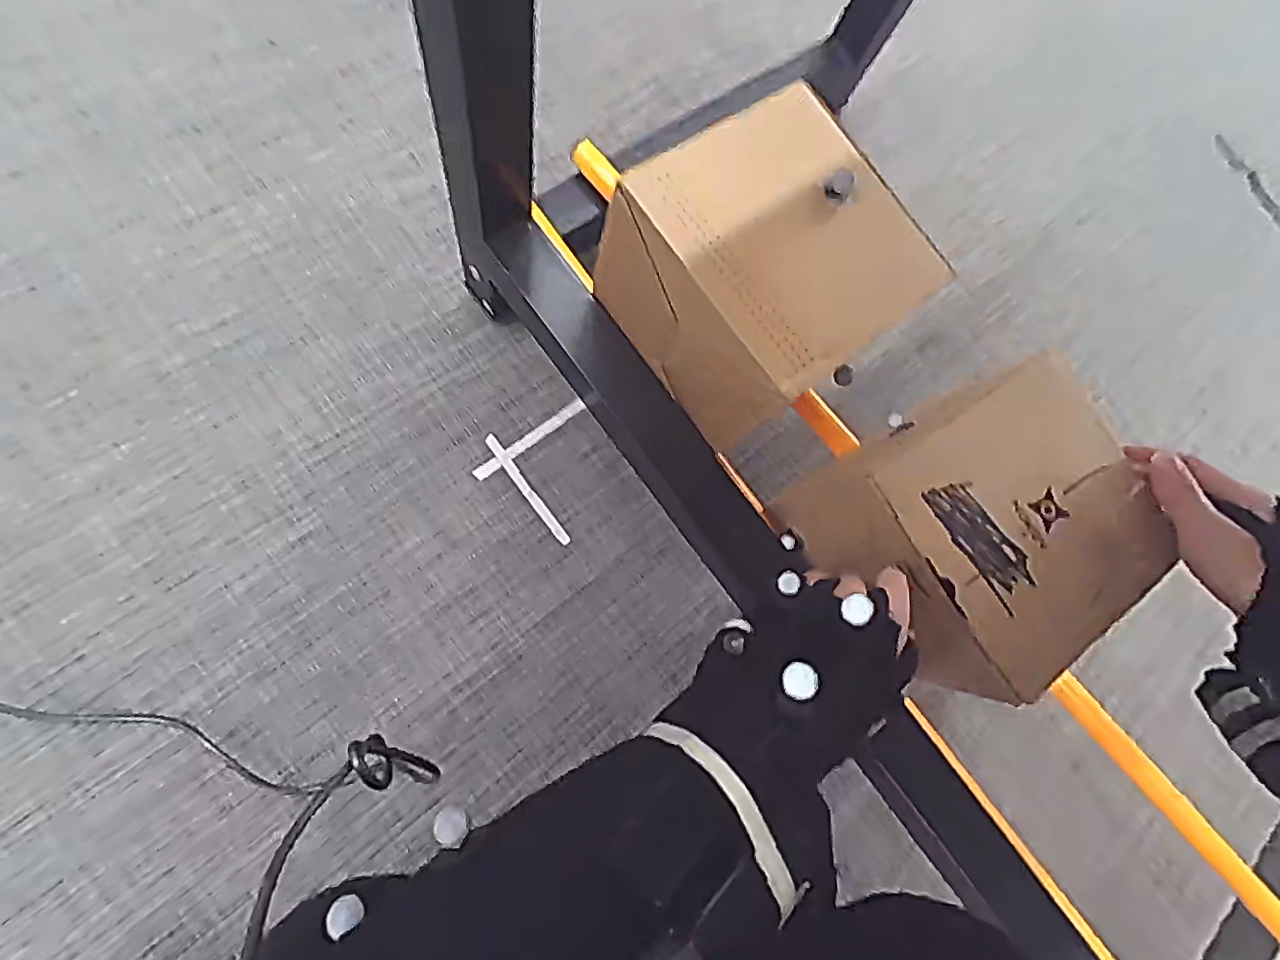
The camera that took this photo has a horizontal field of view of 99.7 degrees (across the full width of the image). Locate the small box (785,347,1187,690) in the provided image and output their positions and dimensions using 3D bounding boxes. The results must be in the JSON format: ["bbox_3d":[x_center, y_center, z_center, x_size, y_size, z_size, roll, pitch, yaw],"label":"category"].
[{"bbox_3d":[0.239,0.033,0.423,0.179,0.176,0.168,-30,86,-16],"label":"small box"}]
